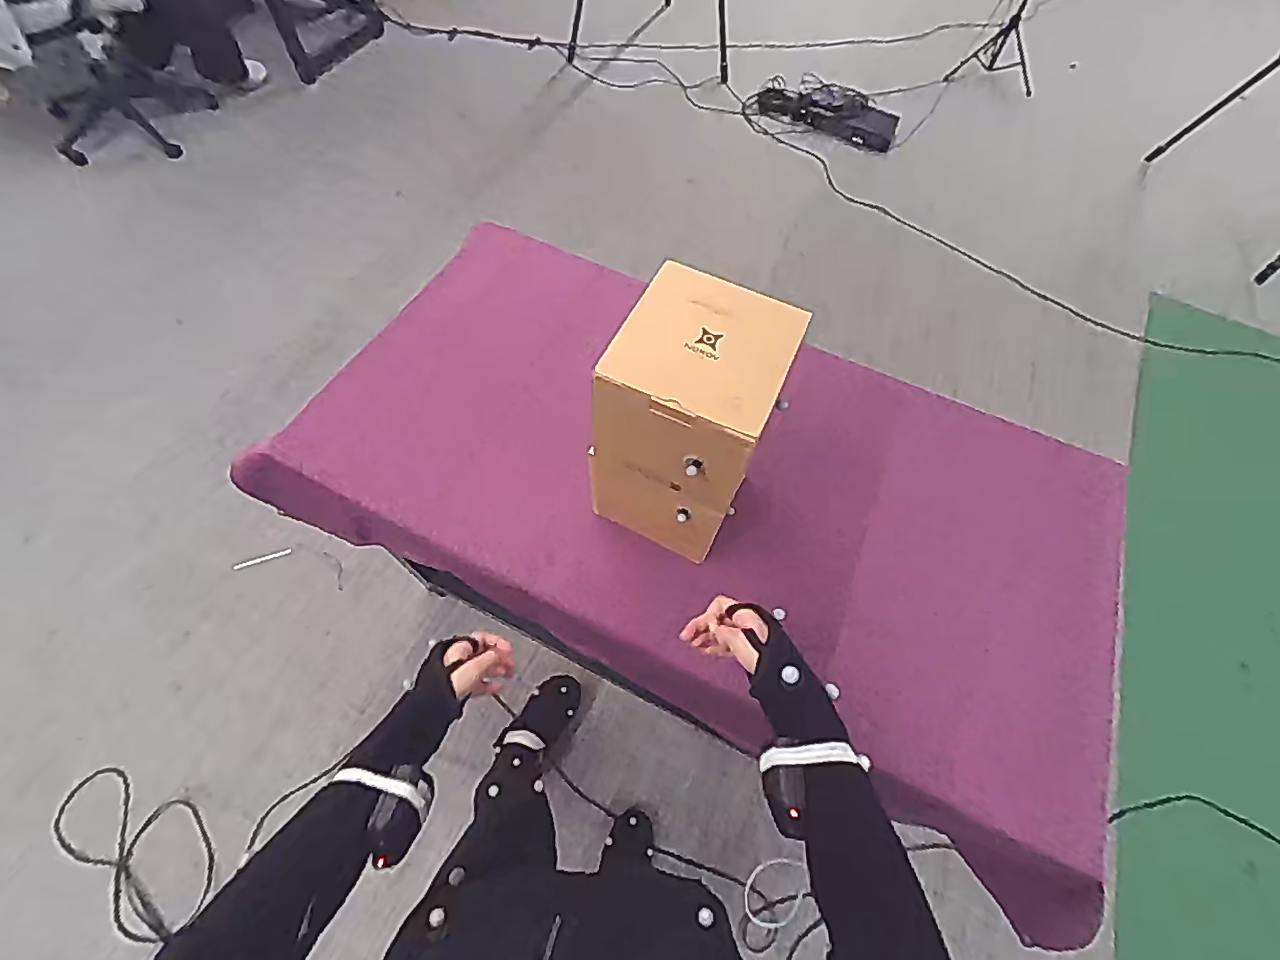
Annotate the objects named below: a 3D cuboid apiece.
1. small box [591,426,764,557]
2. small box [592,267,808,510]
[{"bbox_3d":[0.046,-0.018,0.746,0.179,0.176,0.168,26,62,10],"label":"small box"},{"bbox_3d":[0.060,-0.094,0.603,0.168,0.176,0.179,25,62,9],"label":"small box"}]
